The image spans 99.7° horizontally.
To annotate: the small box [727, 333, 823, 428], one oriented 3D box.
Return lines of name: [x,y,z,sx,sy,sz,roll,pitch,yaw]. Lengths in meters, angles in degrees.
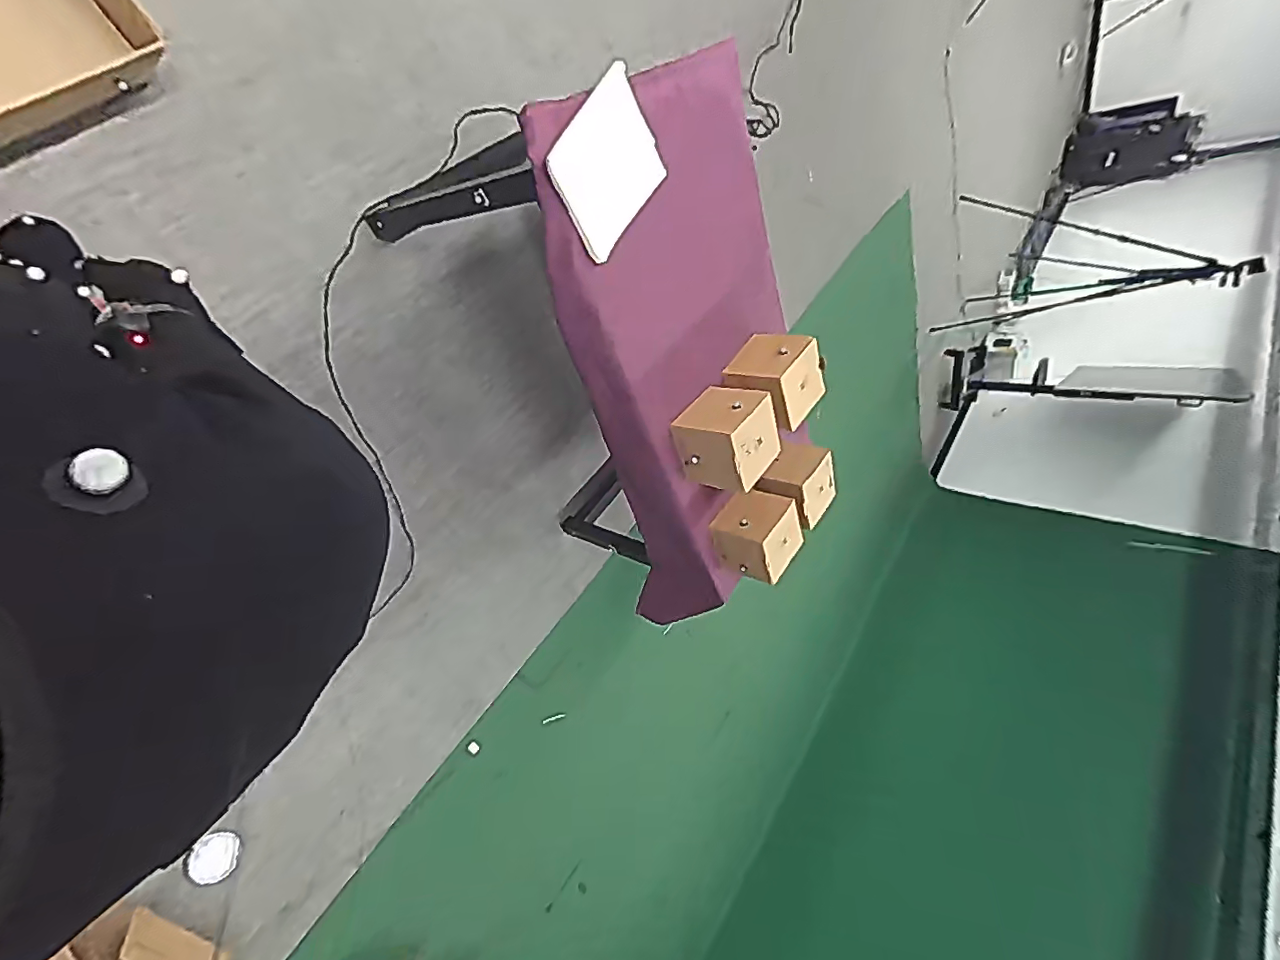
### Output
small box: [0.338,-0.255,1.371,0.179,0.176,0.168,-49,133,-27]

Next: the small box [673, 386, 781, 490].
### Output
small box: [0.204,-0.105,1.262,0.179,0.176,0.168,-45,131,-31]

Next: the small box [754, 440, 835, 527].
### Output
small box: [0.441,0.005,1.564,0.179,0.176,0.168,-42,130,-31]
